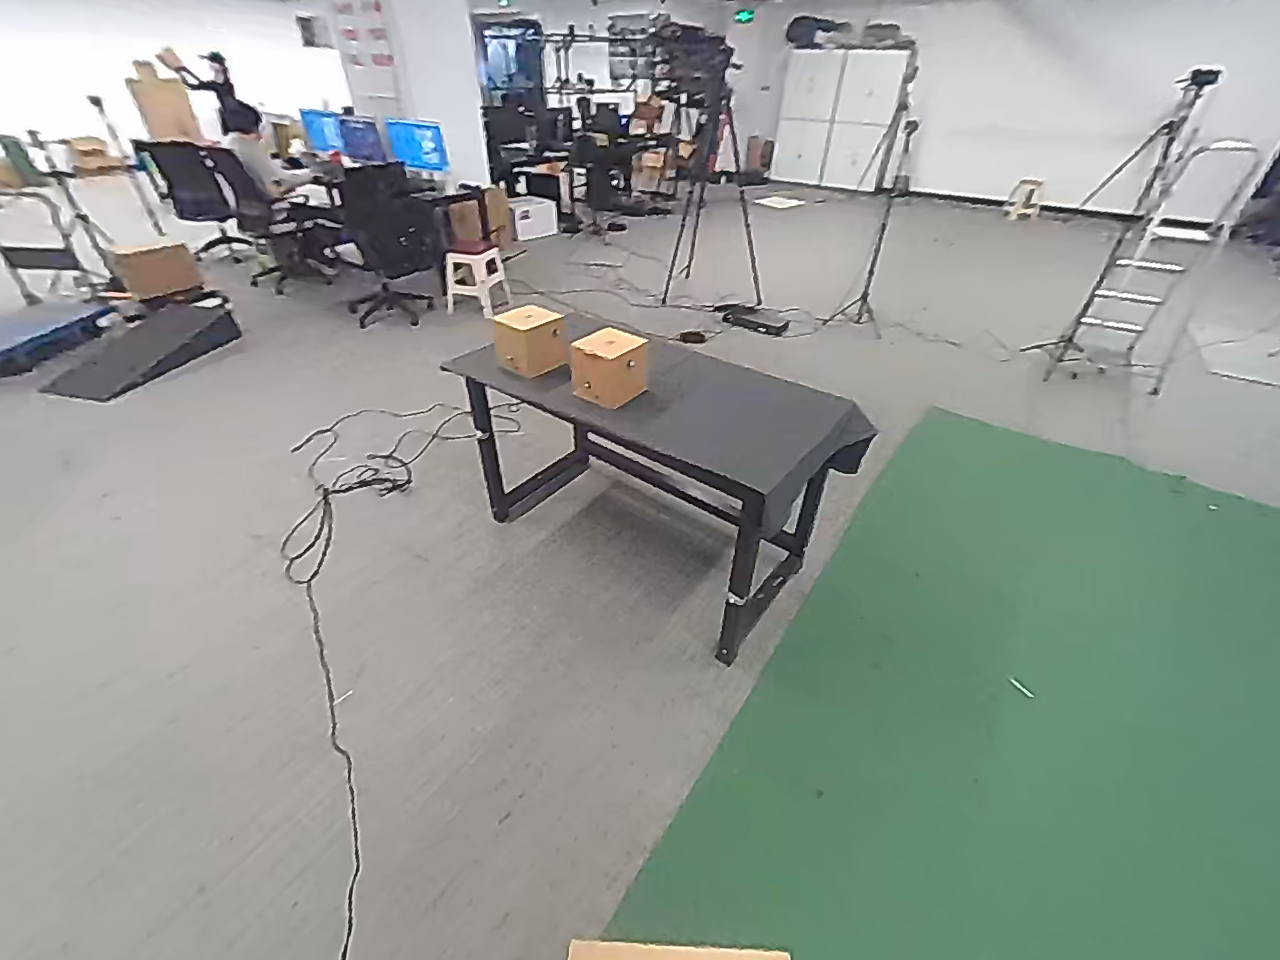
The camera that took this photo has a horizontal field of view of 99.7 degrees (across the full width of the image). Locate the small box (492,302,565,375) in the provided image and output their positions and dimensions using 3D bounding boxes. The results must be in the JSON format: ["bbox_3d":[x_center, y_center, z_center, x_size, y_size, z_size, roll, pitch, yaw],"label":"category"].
[{"bbox_3d":[-0.368,-0.470,1.797,0.168,0.176,0.179,27,43,29],"label":"small box"}]

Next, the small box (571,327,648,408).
[{"bbox_3d":[-0.095,-0.345,1.654,0.168,0.176,0.179,27,43,28],"label":"small box"}]
